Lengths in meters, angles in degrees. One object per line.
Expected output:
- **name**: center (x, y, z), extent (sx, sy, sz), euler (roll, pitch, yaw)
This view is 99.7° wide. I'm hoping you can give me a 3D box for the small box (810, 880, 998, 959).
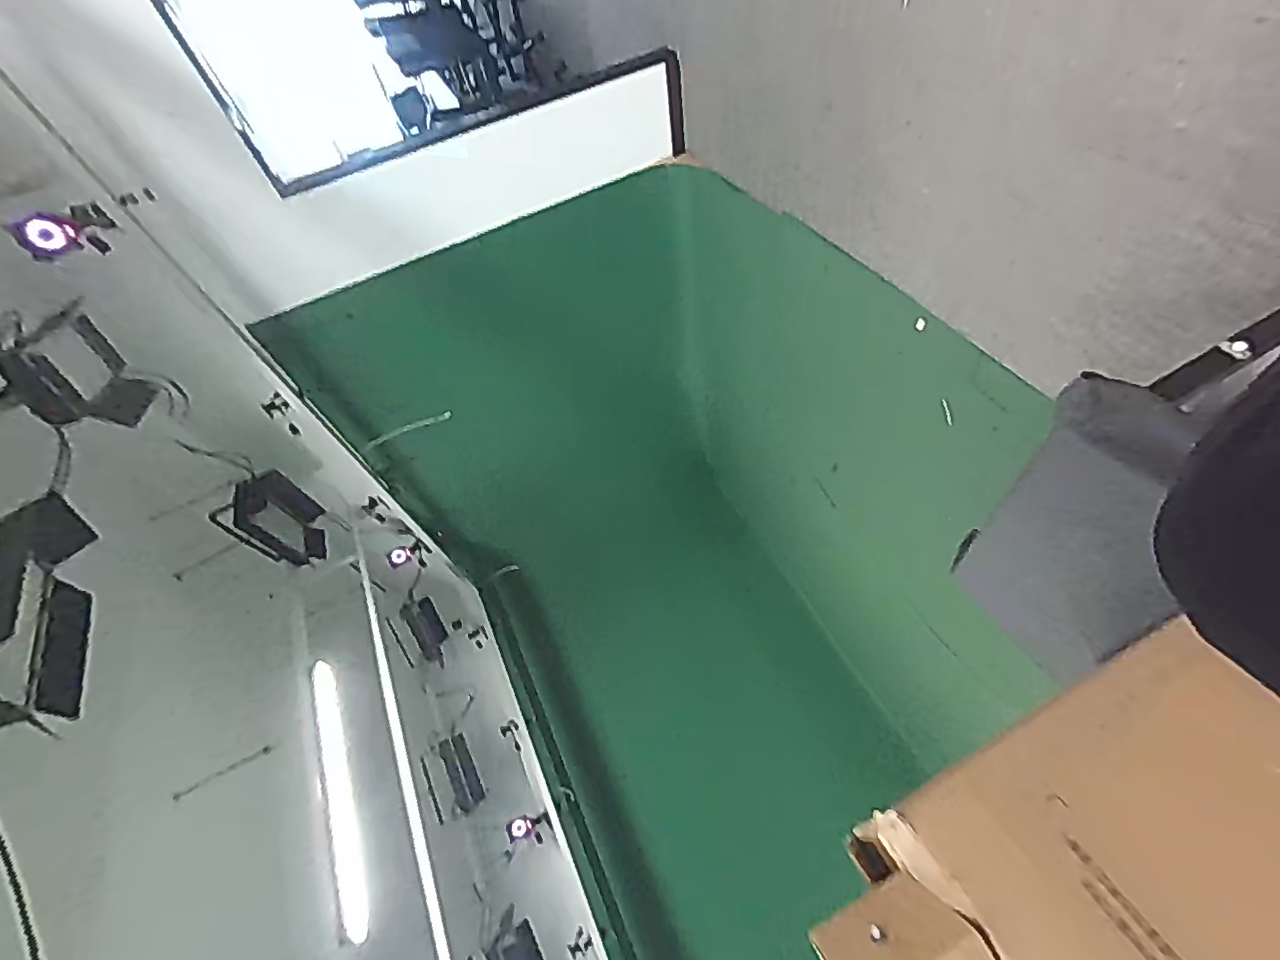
- **small box**: center (0.348, 0.641, 0.665), extent (0.168, 0.176, 0.179), euler (61, 169, 14)
